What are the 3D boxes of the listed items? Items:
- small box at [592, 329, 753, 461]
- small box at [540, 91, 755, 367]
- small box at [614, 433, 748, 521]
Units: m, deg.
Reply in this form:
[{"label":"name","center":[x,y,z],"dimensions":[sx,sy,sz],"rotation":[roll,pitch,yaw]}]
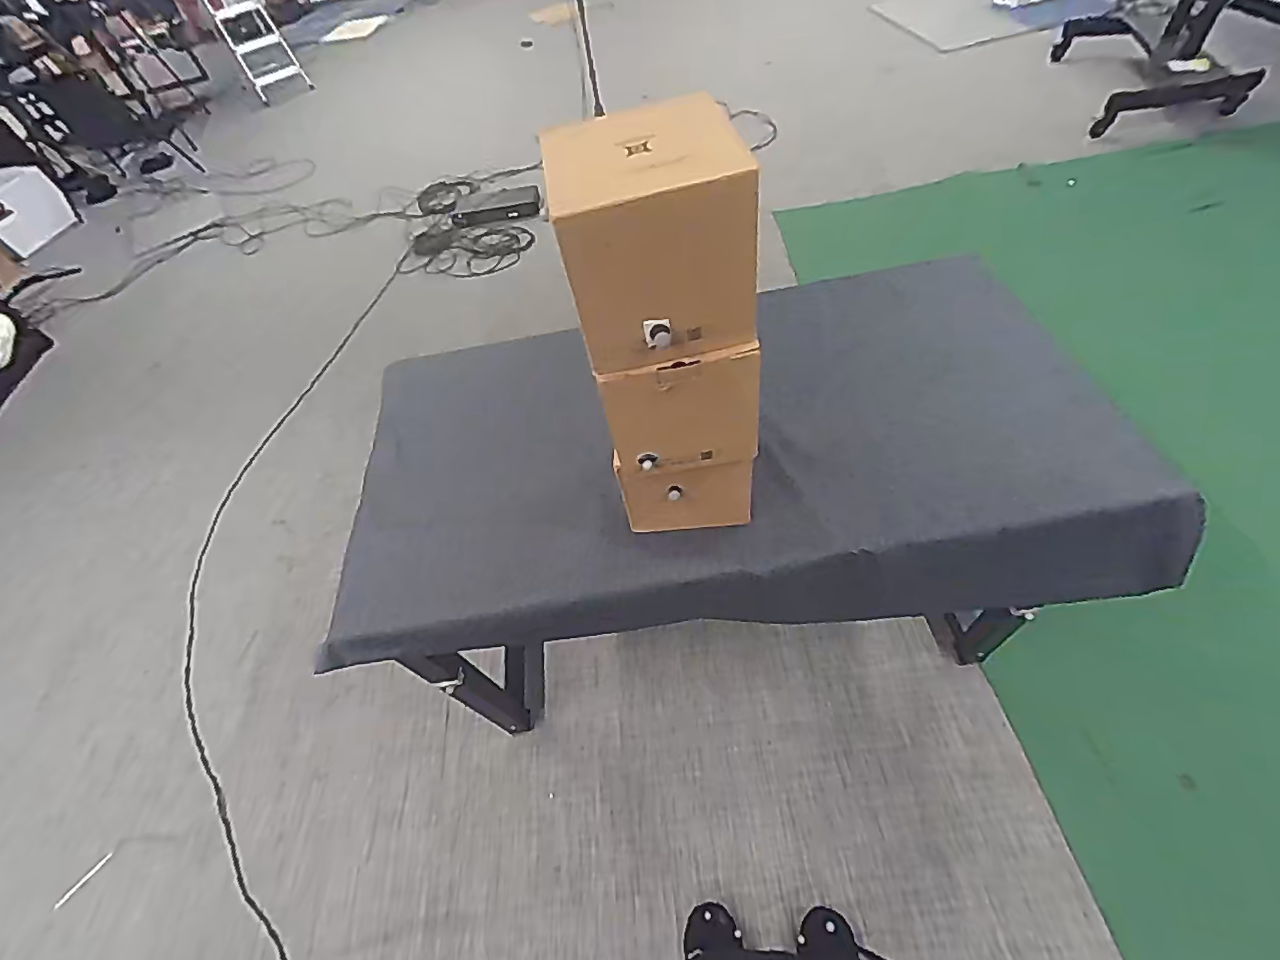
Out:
[{"label":"small box","center":[0.036,-0.139,0.656],"dimensions":[0.168,0.176,0.179],"rotation":[-12,54,2]},{"label":"small box","center":[0.008,-0.242,0.533],"dimensions":[0.168,0.176,0.179],"rotation":[-14,54,2]},{"label":"small box","center":[0.061,-0.054,0.797],"dimensions":[0.179,0.176,0.168],"rotation":[-7,52,4]}]
